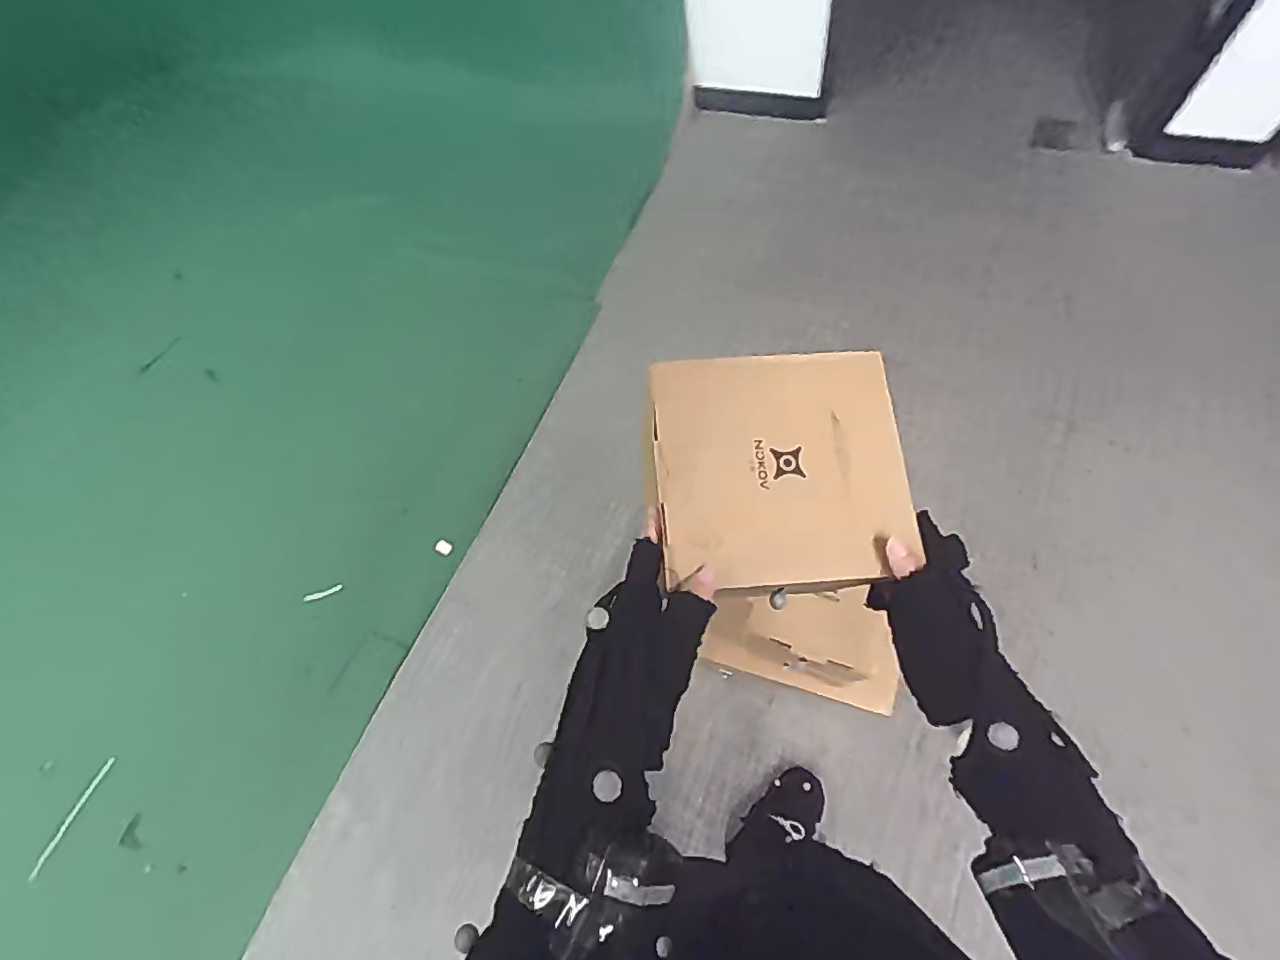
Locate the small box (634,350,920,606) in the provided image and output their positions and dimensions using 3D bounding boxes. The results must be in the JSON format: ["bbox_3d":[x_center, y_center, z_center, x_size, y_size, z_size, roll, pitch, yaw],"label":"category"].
[{"bbox_3d":[0.088,0.011,0.449,0.179,0.176,0.168,-5,75,-6],"label":"small box"}]

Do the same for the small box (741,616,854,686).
[{"bbox_3d":[0.284,0.238,0.927,0.179,0.176,0.168,18,73,18],"label":"small box"}]

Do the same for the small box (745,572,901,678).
[{"bbox_3d":[0.259,0.172,0.779,0.168,0.176,0.179,17,73,17],"label":"small box"}]
